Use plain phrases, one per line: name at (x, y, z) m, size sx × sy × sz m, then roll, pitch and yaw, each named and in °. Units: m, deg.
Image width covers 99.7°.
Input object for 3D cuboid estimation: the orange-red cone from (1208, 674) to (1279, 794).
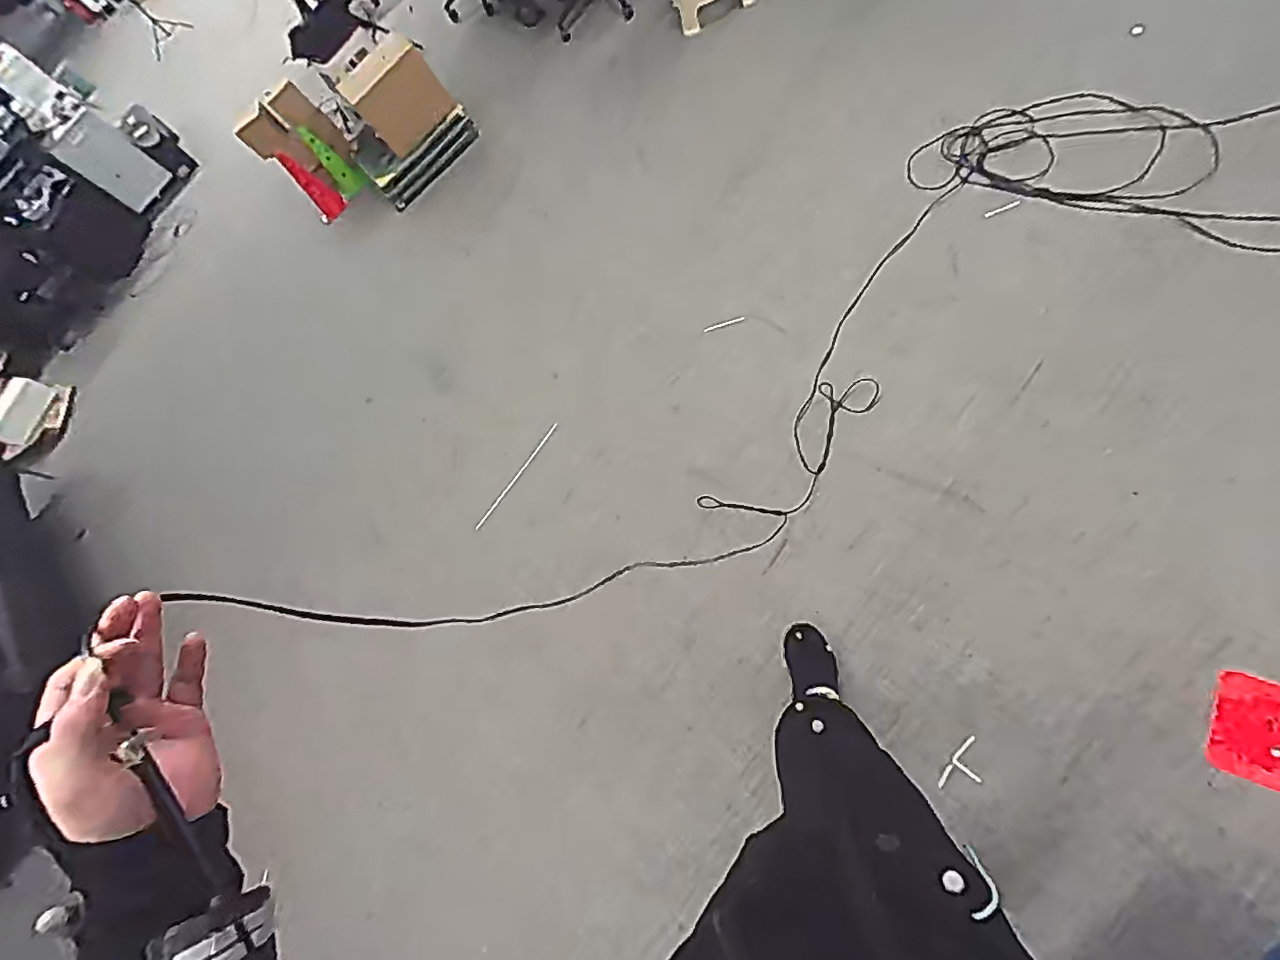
orange-red cone at (1.171, 0.438, 0.888) m, size 0.198 × 0.360 × 0.199 m, roll 19°, pitch 77°, yaw 27°
